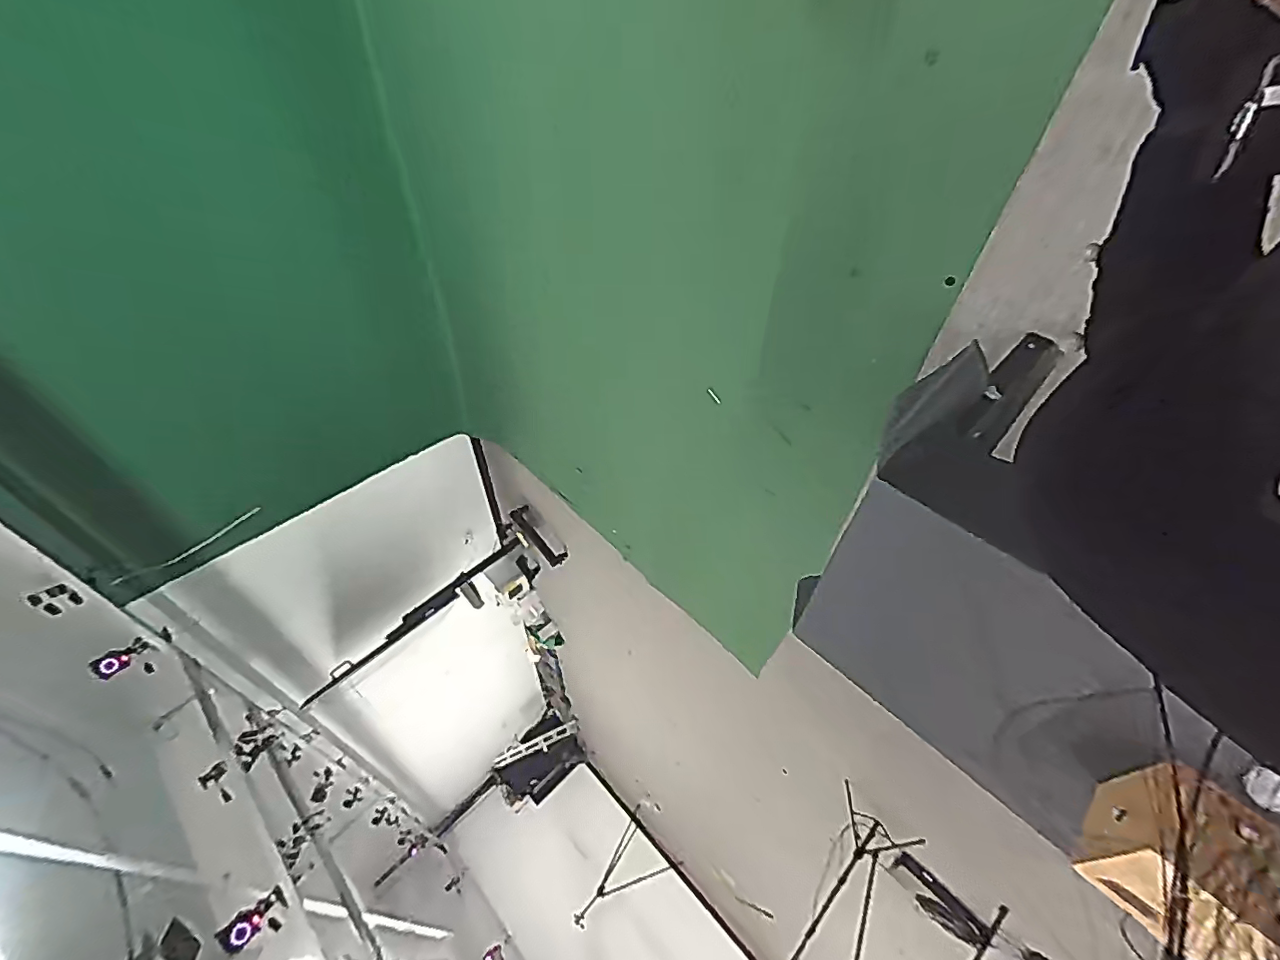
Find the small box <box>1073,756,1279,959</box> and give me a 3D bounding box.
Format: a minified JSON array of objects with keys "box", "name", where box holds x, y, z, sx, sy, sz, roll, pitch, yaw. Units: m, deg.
[{"box":[0.797,0.544,0.789,0.168,0.176,0.179,38,146,27],"name":"small box"}]
